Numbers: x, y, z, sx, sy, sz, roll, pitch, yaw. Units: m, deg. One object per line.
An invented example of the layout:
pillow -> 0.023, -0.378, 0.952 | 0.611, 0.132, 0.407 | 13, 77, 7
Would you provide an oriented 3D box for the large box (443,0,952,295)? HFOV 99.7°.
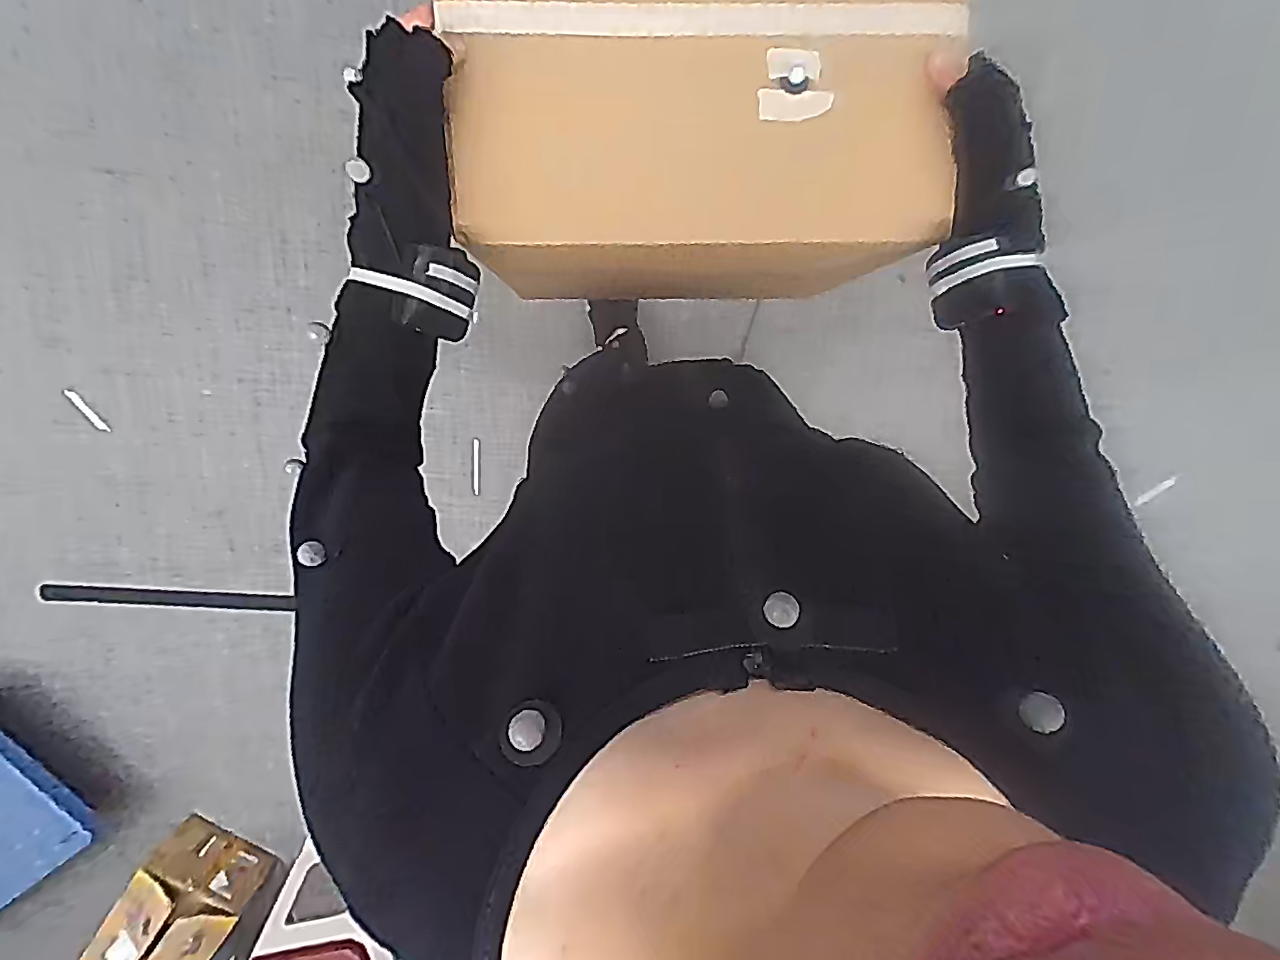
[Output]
large box -> 0.038, -0.382, 0.564 | 0.408, 0.320, 0.320 | -2, 101, -3
